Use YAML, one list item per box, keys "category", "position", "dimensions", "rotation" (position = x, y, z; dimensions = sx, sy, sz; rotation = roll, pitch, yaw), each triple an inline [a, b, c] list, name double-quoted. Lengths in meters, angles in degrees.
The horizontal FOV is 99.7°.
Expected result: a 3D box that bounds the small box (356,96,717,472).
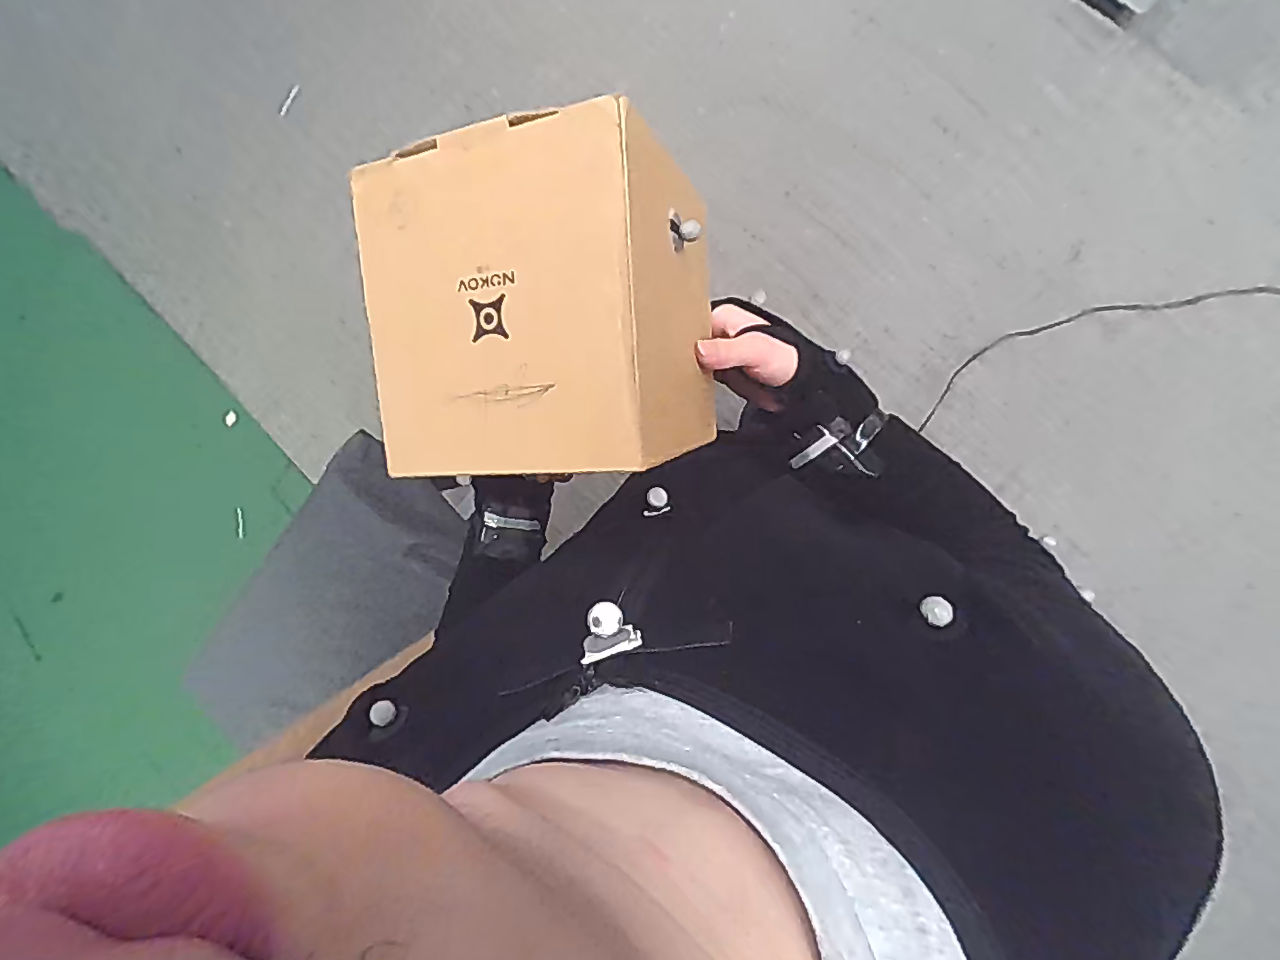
- category: "small box"
  position: [-0.049, -0.103, 0.359]
  dimensions: [0.168, 0.176, 0.179]
  rotation: [0, 100, 22]
